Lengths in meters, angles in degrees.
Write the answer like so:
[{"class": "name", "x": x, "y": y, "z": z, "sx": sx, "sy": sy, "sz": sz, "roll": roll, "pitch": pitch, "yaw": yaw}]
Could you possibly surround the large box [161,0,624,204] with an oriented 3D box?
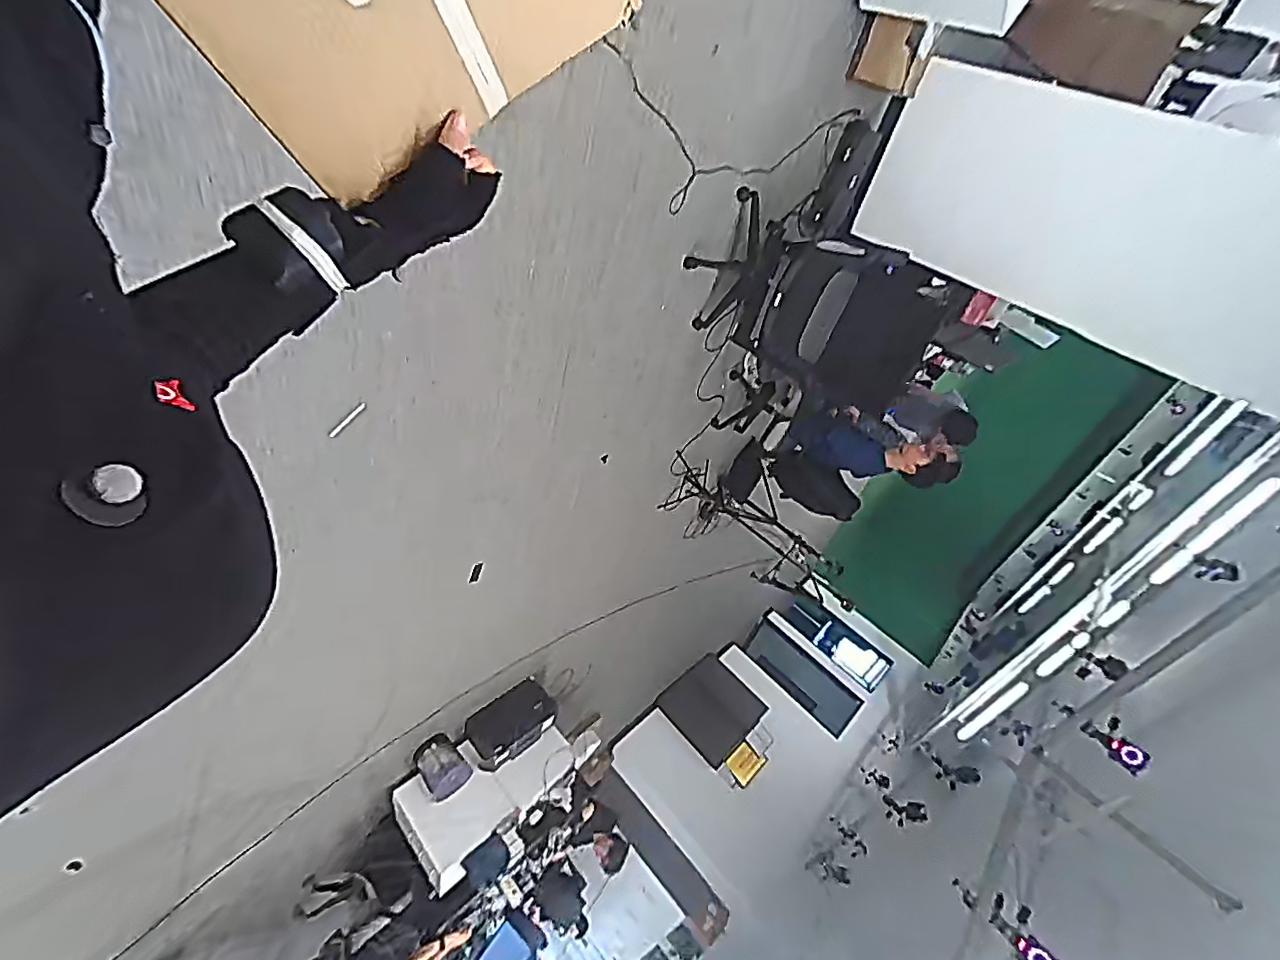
[{"class": "large box", "x": -0.263, "y": -0.499, "z": 0.352, "sx": 0.320, "sy": 0.320, "sz": 0.408, "roll": -38, "pitch": 155, "yaw": -4}]
